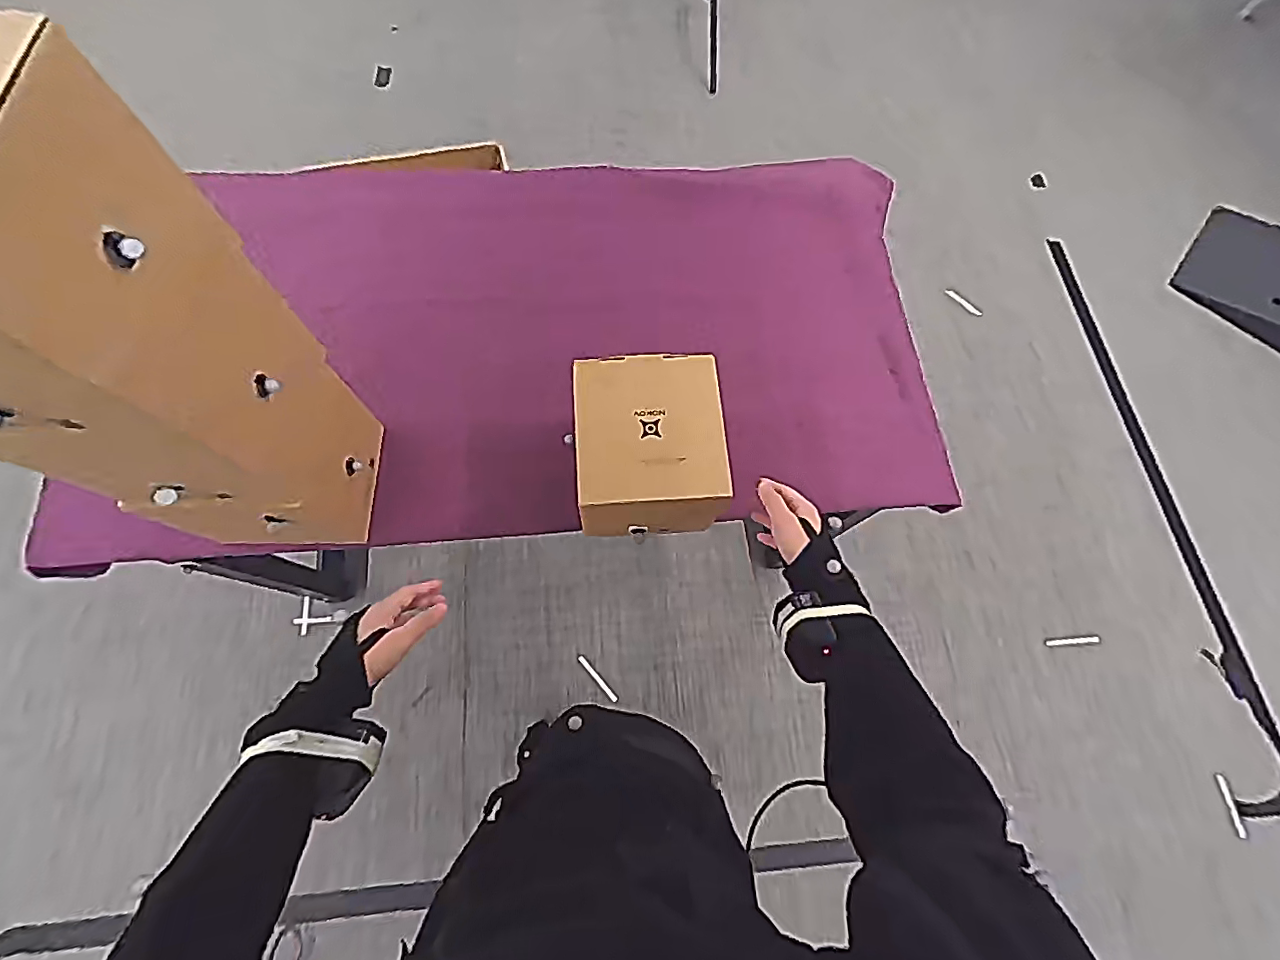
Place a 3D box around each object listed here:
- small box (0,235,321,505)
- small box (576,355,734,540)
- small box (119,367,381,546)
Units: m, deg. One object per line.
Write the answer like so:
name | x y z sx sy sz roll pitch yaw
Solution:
small box | -0.414 -0.085 0.481 0.168 0.176 0.179 0 72 -4
small box | 0.008 -0.033 0.667 0.168 0.176 0.179 -4 72 -4
small box | -0.428 -0.022 0.632 0.179 0.176 0.168 0 70 -4
